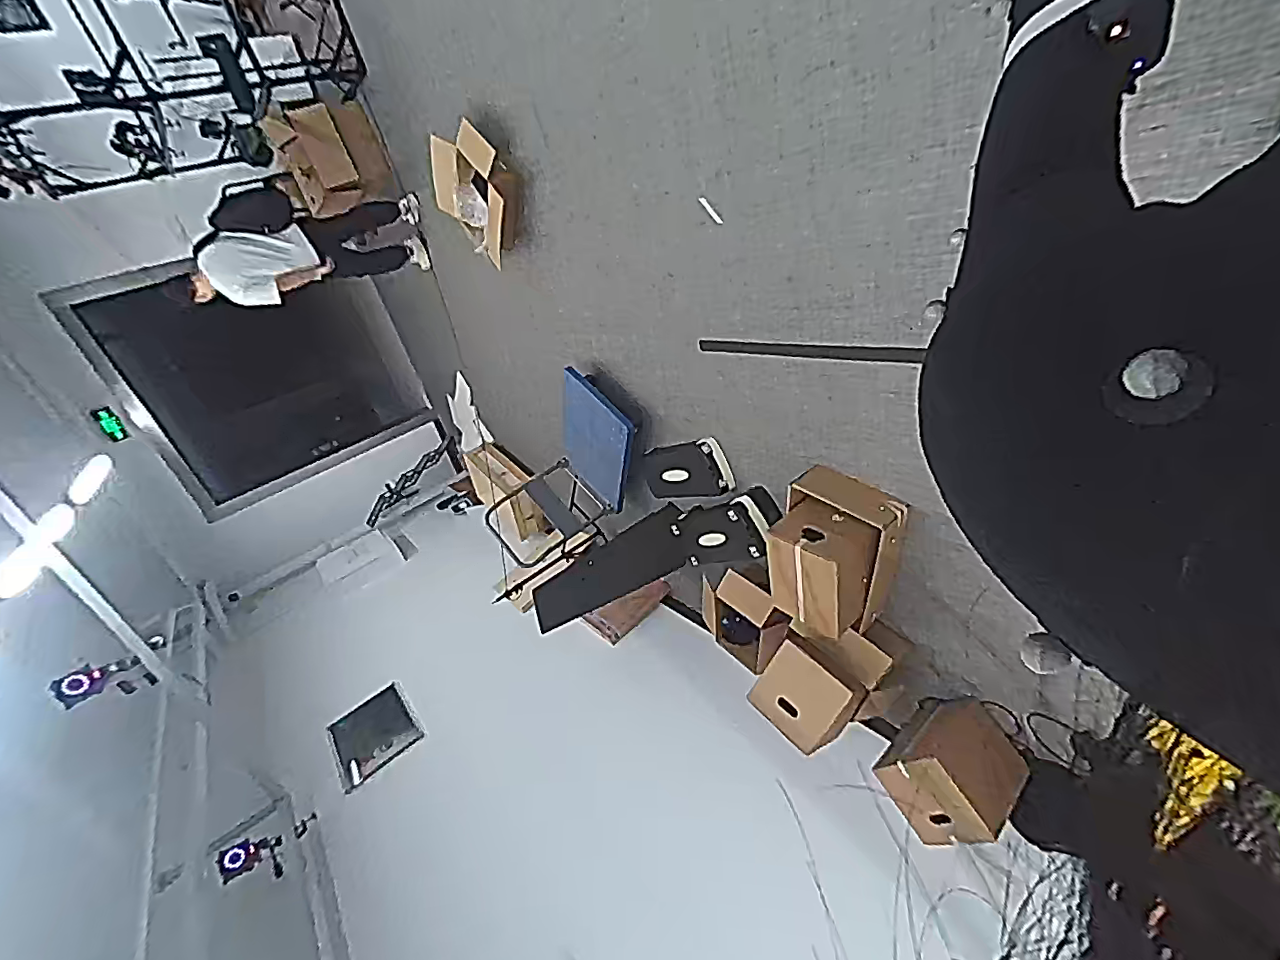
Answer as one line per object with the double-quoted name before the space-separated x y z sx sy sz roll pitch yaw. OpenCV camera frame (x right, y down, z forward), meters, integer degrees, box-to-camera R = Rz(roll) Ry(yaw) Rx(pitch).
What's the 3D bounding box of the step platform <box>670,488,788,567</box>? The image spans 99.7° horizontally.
"step platform" 0.421 0.260 2.745 0.286 0.204 0.684 59 151 -2
